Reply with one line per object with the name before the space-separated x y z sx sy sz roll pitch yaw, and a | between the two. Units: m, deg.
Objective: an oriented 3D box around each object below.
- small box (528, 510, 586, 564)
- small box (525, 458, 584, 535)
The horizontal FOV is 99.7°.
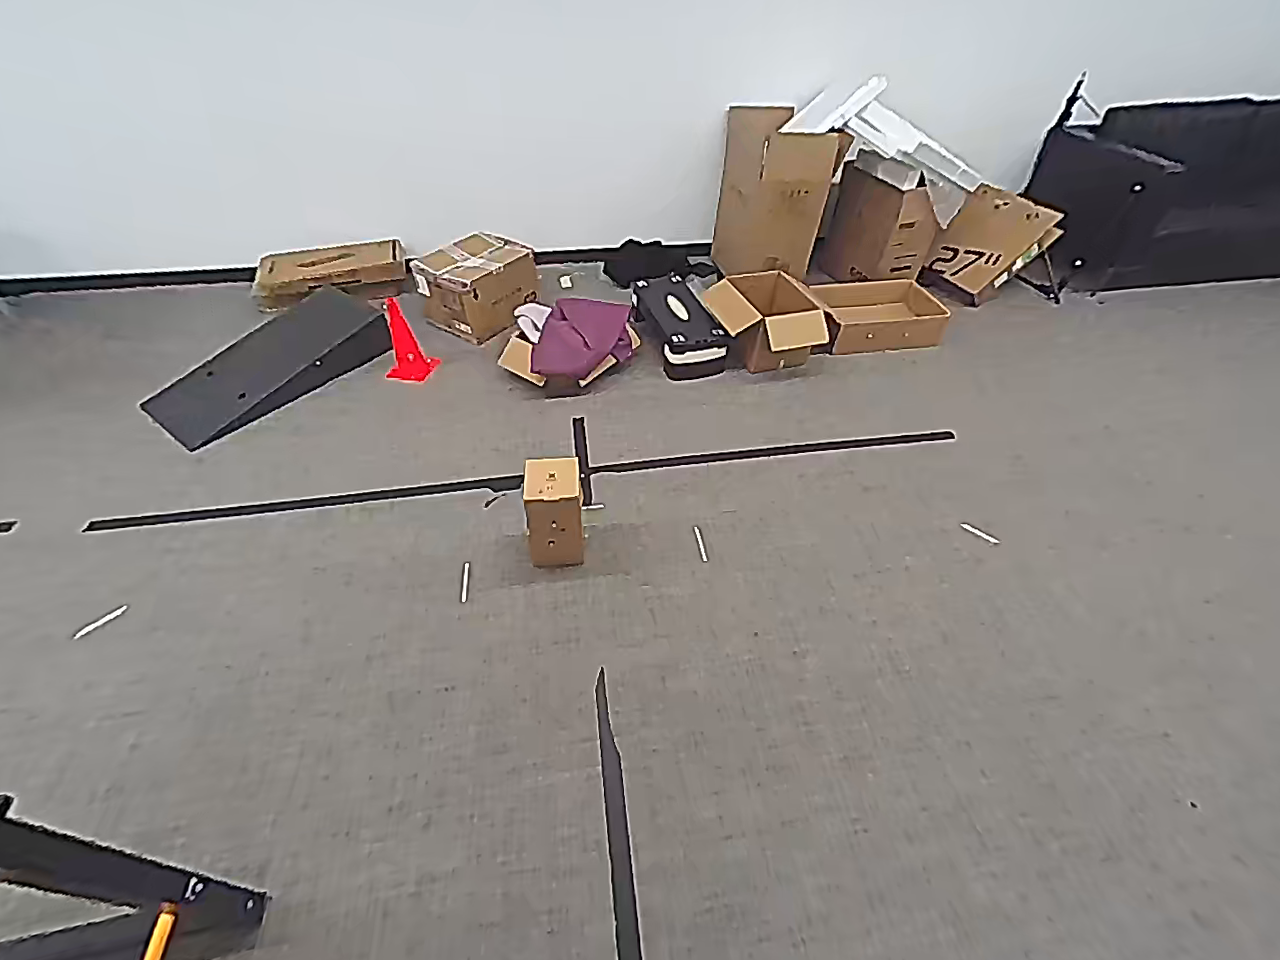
small box | -0.275 0.170 1.817 0.179 0.176 0.168 -3 46 -5
small box | -0.266 0.051 1.703 0.168 0.176 0.179 -4 46 -4
